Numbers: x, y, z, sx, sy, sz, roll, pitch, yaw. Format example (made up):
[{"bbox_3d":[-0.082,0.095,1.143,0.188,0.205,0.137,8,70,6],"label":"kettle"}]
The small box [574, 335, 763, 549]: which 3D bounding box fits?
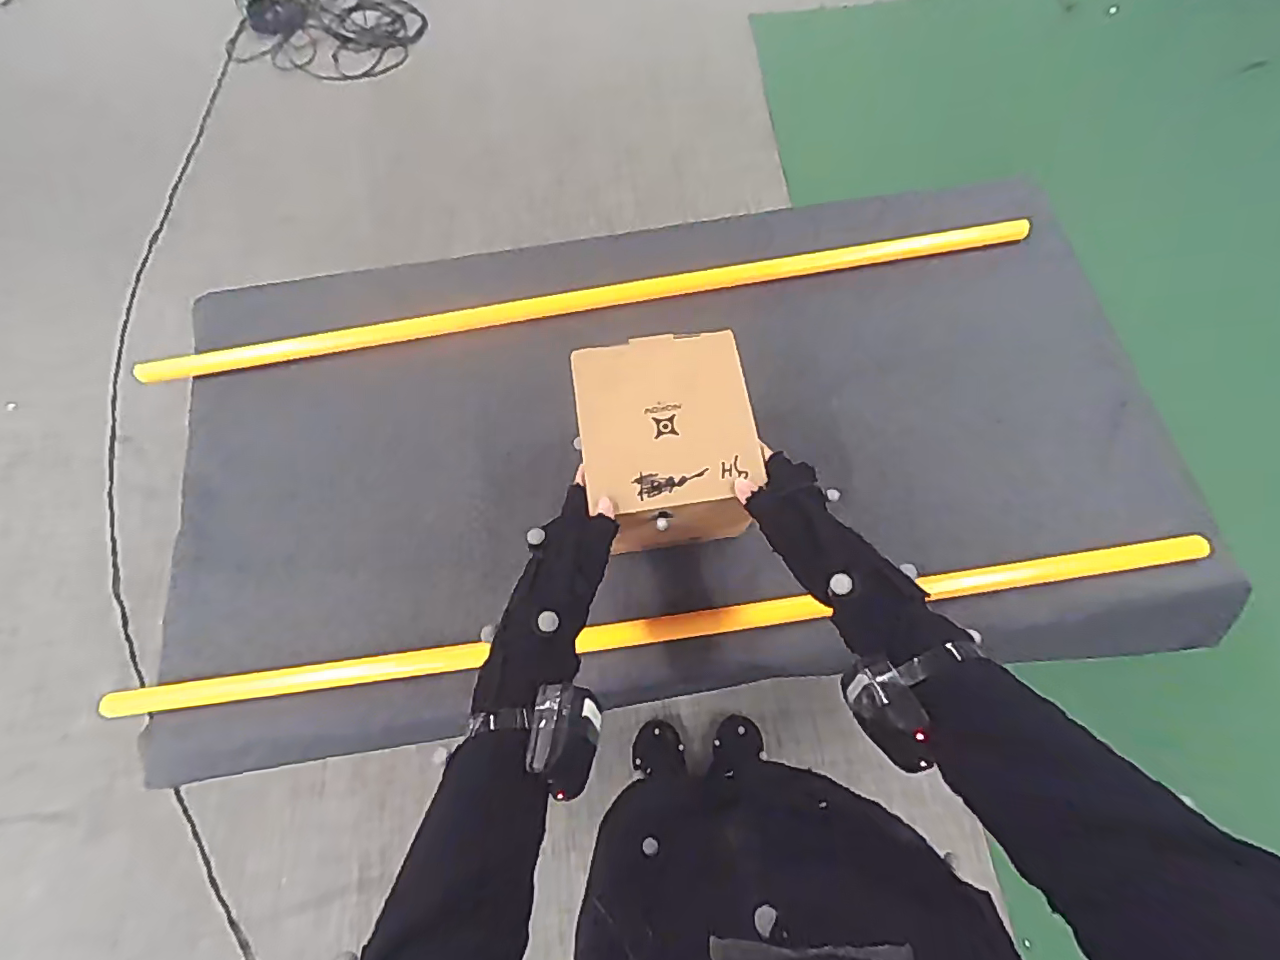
[{"bbox_3d":[0.025,-0.032,0.597,0.168,0.176,0.179,-8,72,0],"label":"small box"}]
